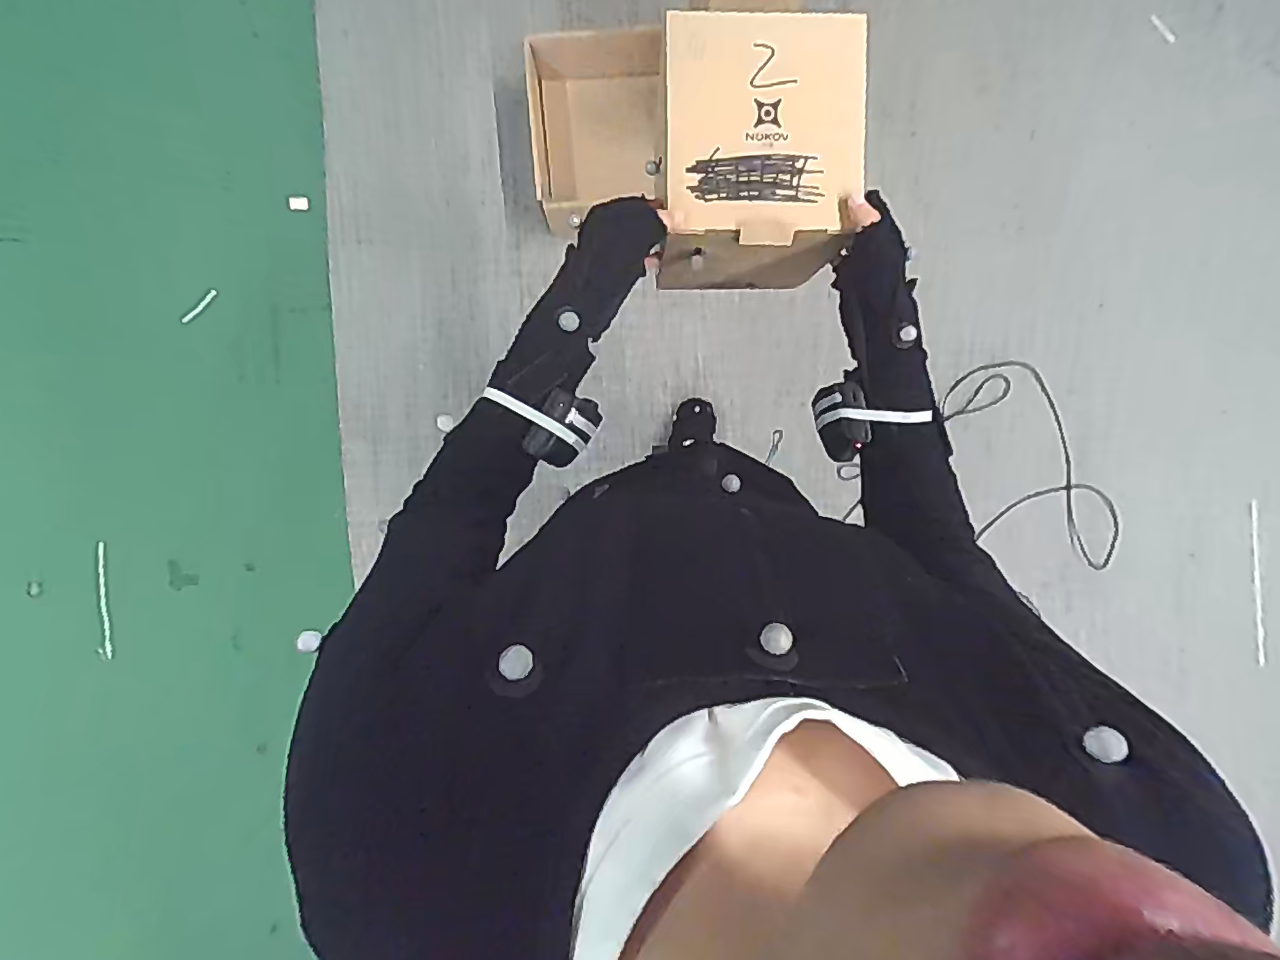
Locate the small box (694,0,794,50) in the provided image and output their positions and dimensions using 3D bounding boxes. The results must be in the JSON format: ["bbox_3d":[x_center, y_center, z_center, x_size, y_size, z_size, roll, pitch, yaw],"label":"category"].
[{"bbox_3d":[0.191,-0.926,0.984,0.168,0.176,0.179,-4,92,-2],"label":"small box"}]

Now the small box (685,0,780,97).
[{"bbox_3d":[0.188,-0.938,1.131,0.168,0.176,0.179,-5,92,-1],"label":"small box"}]

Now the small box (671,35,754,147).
[{"bbox_3d":[0.171,-0.941,1.313,0.168,0.176,0.179,-9,91,1],"label":"small box"}]
